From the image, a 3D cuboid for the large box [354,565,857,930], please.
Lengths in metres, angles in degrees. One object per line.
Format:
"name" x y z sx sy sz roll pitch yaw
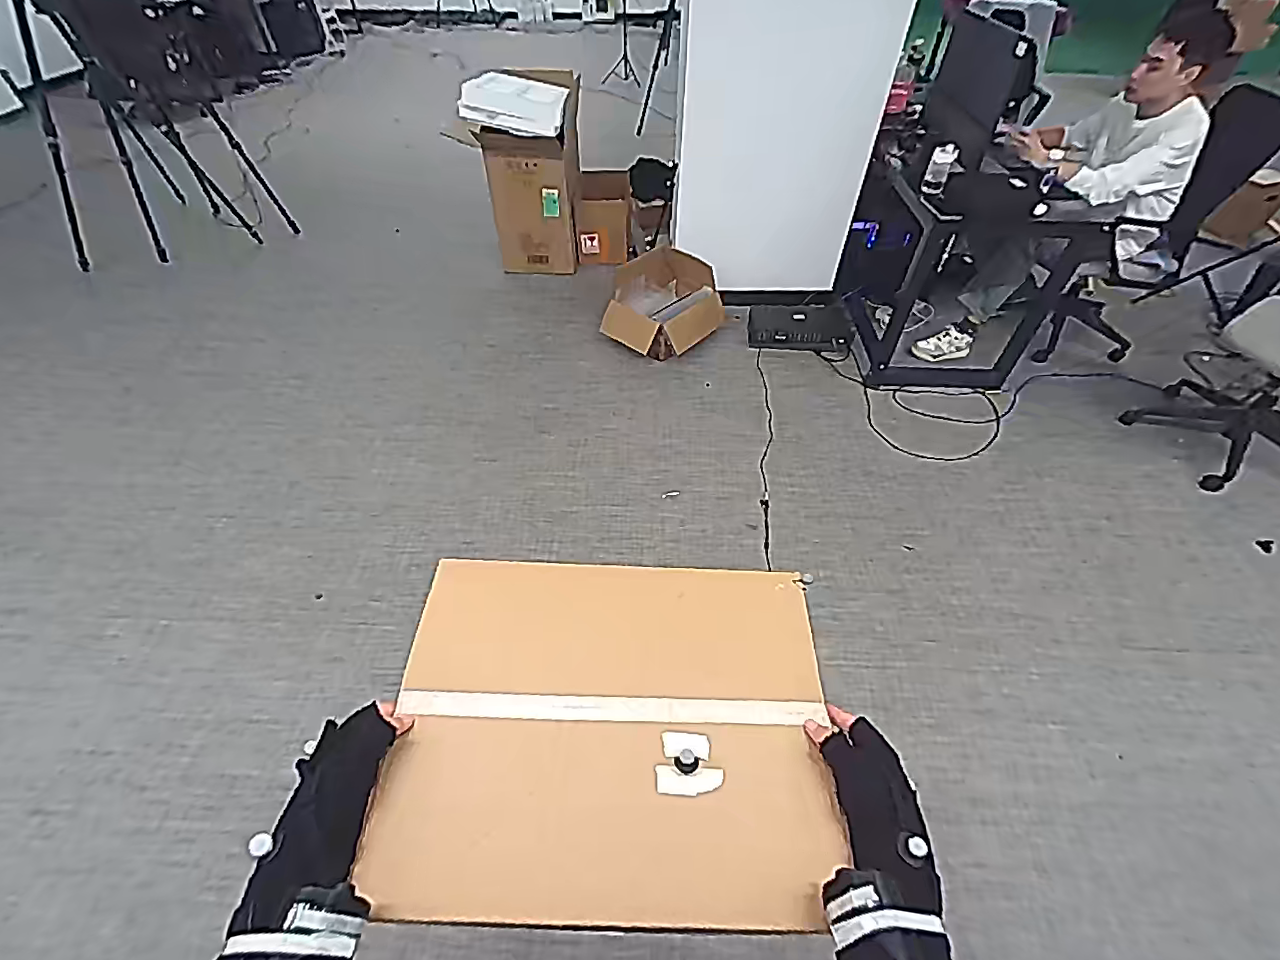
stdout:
"large box" -0.031 0.317 0.628 0.408 0.320 0.320 3 50 -1
